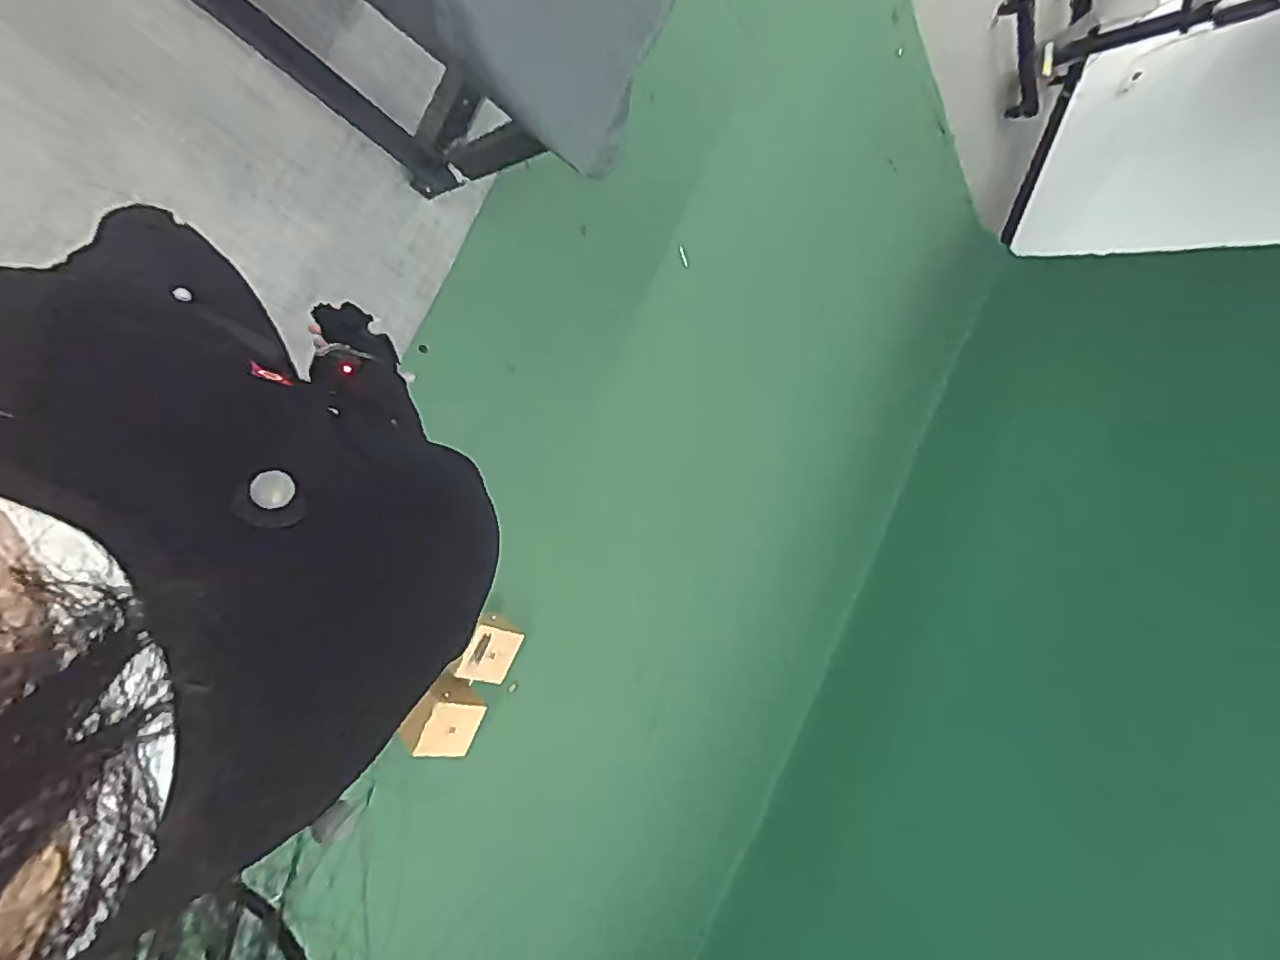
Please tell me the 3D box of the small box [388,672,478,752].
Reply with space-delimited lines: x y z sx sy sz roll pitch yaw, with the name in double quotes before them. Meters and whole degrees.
"small box" -0.640 0.711 1.665 0.179 0.176 0.168 29 85 -43
